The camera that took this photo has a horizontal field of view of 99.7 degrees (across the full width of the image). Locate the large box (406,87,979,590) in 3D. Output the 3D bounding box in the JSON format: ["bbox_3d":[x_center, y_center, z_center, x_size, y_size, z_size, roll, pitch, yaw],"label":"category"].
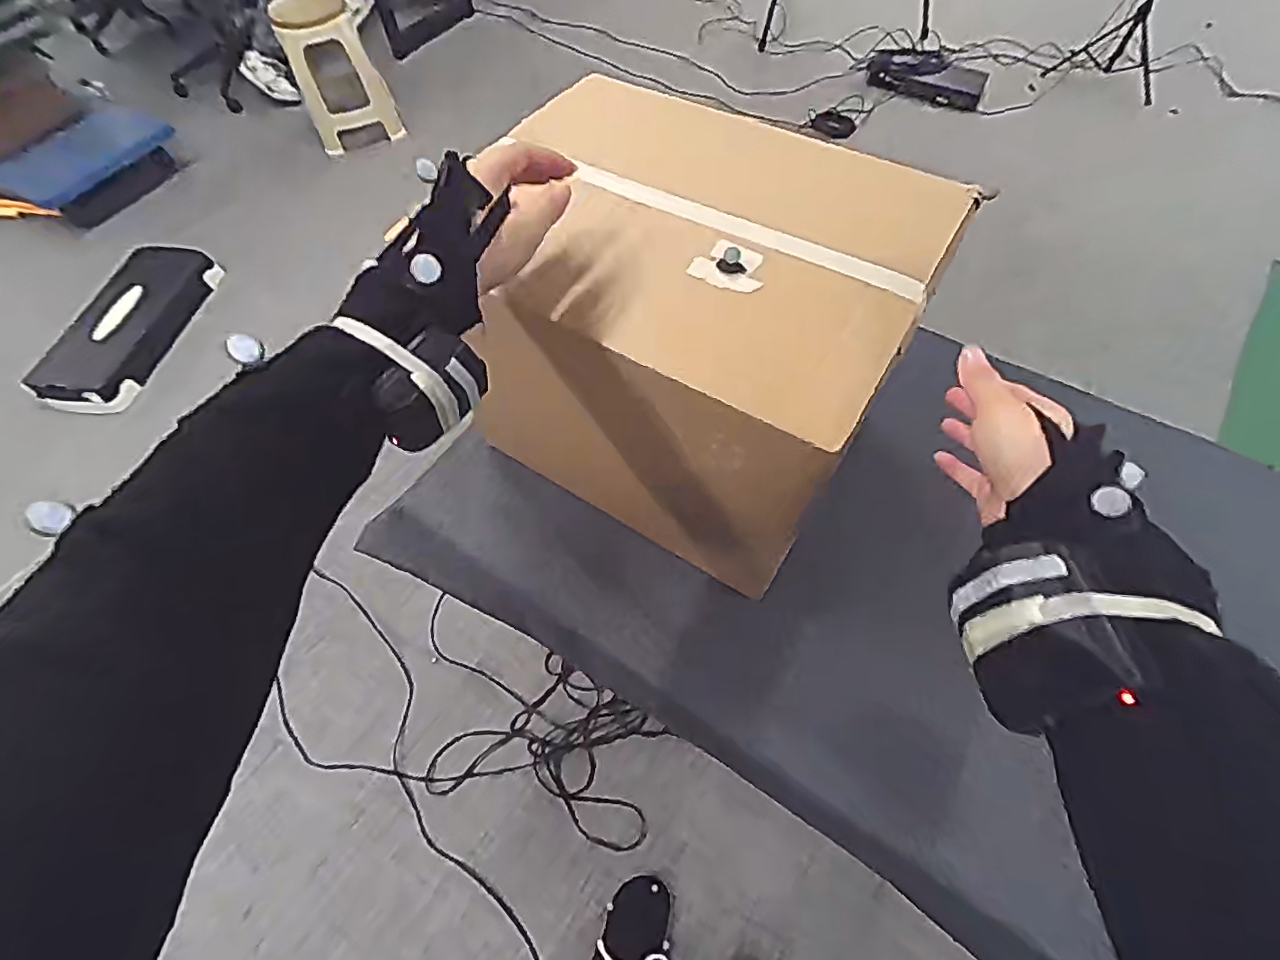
[{"bbox_3d":[0.049,-0.145,0.589,0.408,0.320,0.320,29,66,16],"label":"large box"}]
